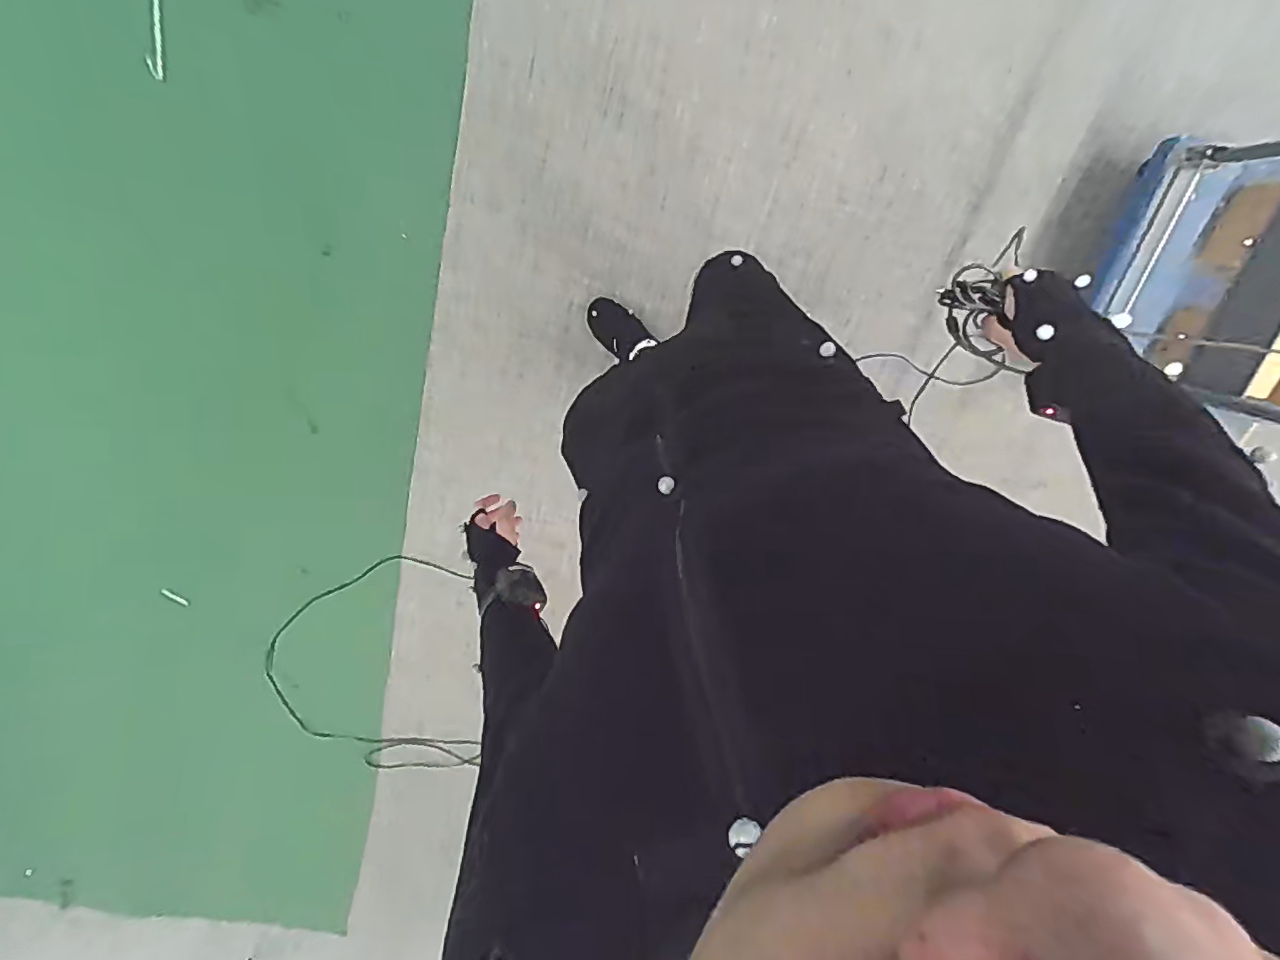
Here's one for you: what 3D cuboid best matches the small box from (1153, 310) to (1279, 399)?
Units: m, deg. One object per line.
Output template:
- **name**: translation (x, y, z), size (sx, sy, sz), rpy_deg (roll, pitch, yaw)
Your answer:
- **small box**: translation (1.442, -0.312, 1.323), size (0.179, 0.176, 0.168), rpy_deg (11, 111, -7)
